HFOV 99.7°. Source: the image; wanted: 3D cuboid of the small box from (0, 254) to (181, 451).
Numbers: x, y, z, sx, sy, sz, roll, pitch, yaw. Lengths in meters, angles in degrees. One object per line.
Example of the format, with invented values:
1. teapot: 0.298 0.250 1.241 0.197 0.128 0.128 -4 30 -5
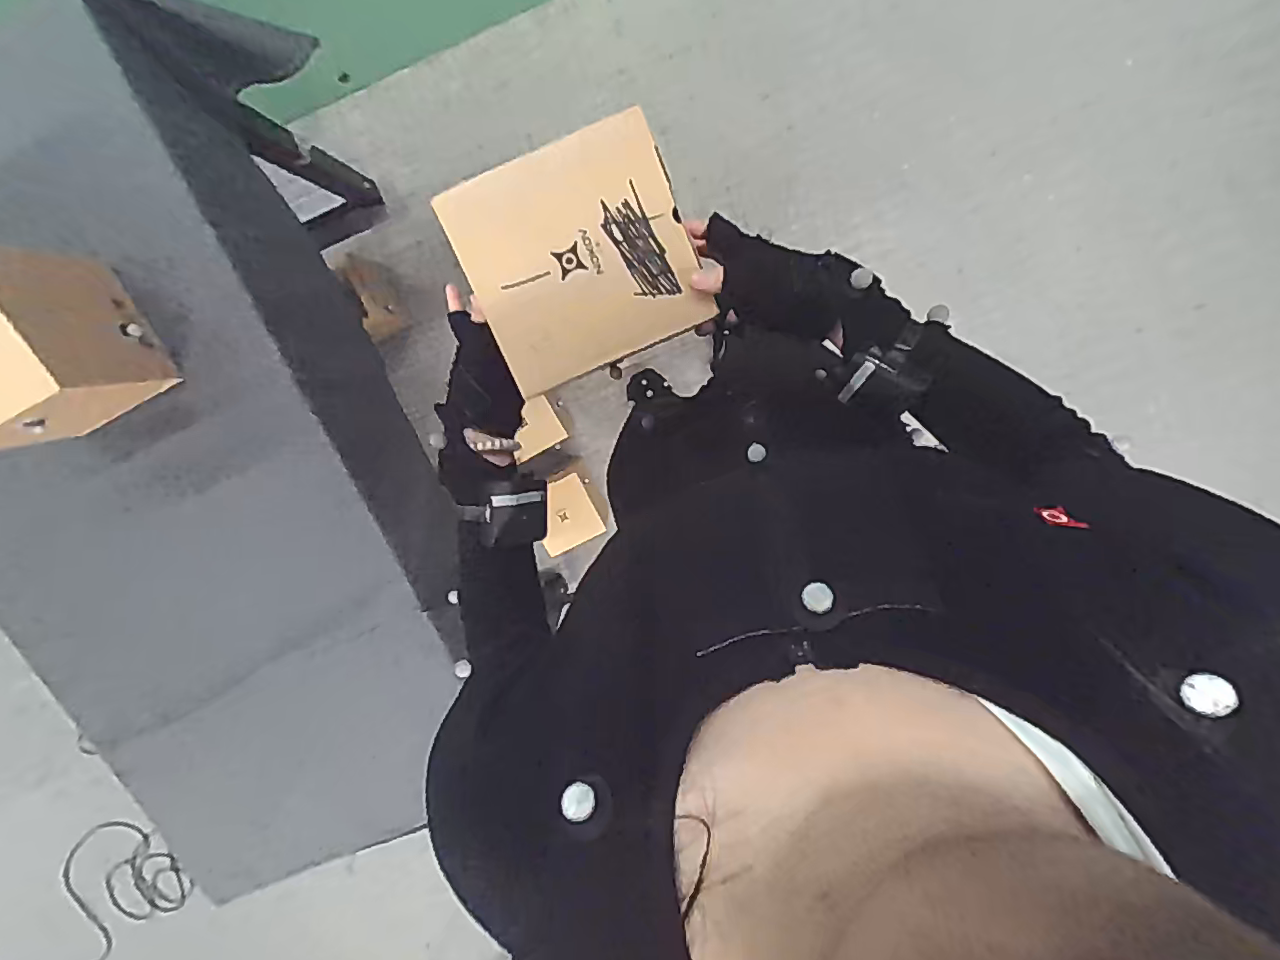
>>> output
1. small box: -0.710 -0.141 0.630 0.179 0.176 0.168 -24 104 6

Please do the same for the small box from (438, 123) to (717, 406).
1. small box: -0.051 -0.180 0.499 0.179 0.176 0.168 -22 101 1
